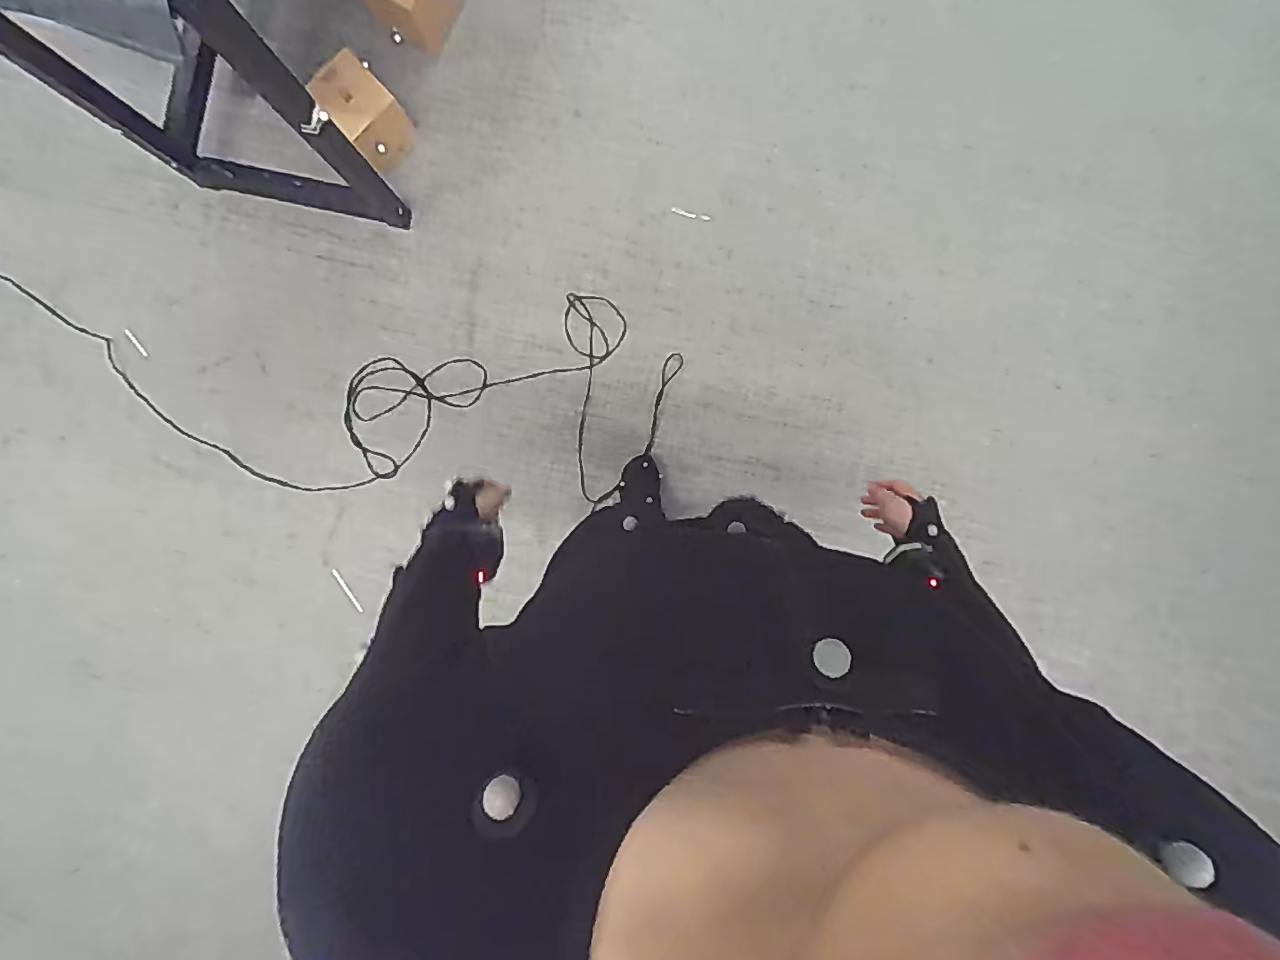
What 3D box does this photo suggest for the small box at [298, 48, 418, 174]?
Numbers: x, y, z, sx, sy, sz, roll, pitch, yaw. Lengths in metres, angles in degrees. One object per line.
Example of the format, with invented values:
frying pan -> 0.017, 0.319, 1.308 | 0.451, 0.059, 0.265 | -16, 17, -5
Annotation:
small box -> -0.706, -0.923, 1.380 | 0.168, 0.176, 0.179 | -45, 91, 0

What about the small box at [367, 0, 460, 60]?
small box -> -0.582, -1.240, 1.376 | 0.168, 0.176, 0.179 | 26, 92, 0
